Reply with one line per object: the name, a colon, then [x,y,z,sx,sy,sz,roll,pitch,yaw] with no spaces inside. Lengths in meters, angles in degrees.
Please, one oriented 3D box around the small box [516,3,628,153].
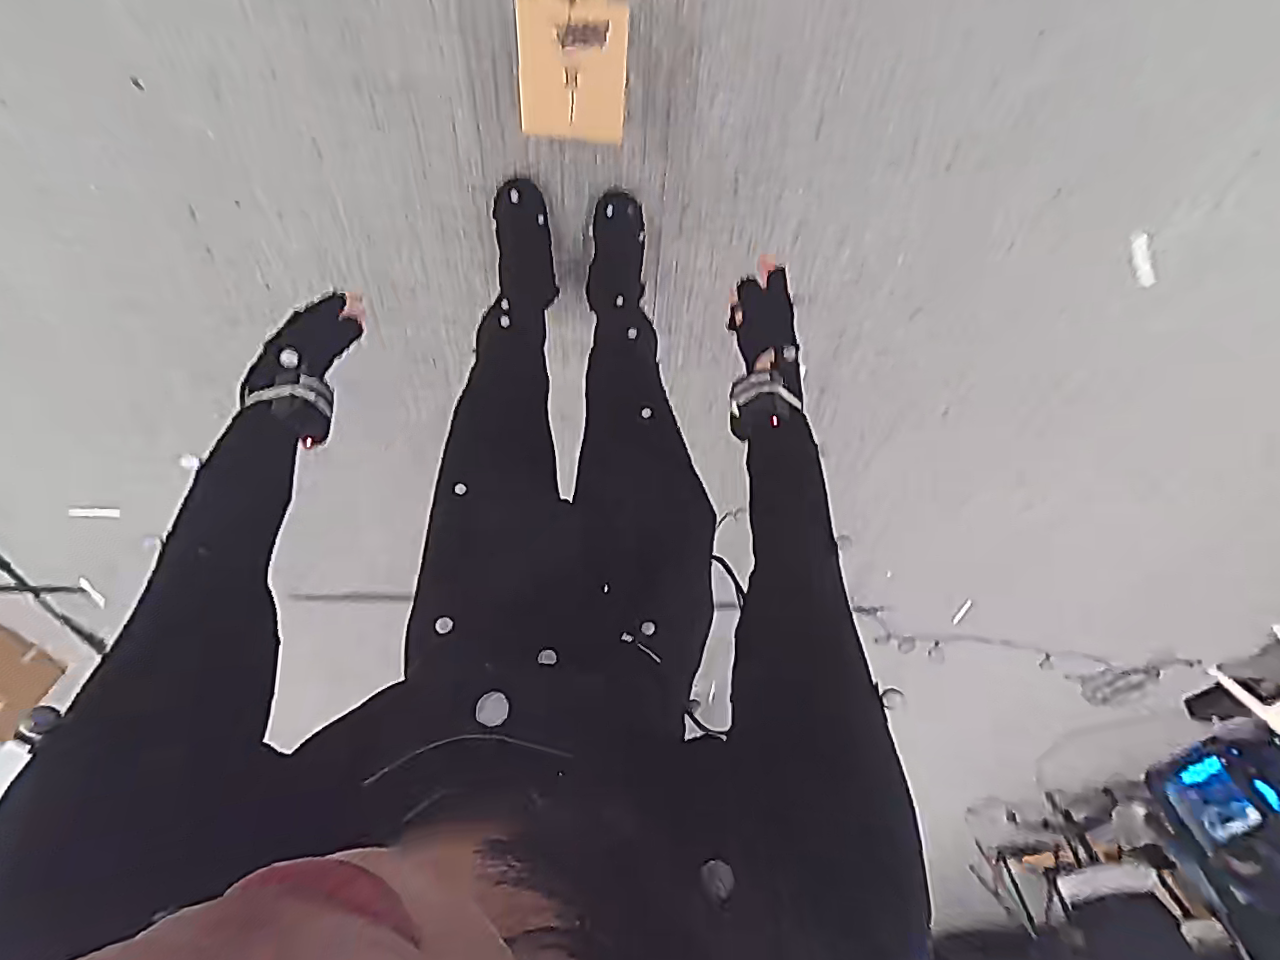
small box: [-0.111,-0.669,0.900,0.168,0.176,0.179,3,131,-5]
